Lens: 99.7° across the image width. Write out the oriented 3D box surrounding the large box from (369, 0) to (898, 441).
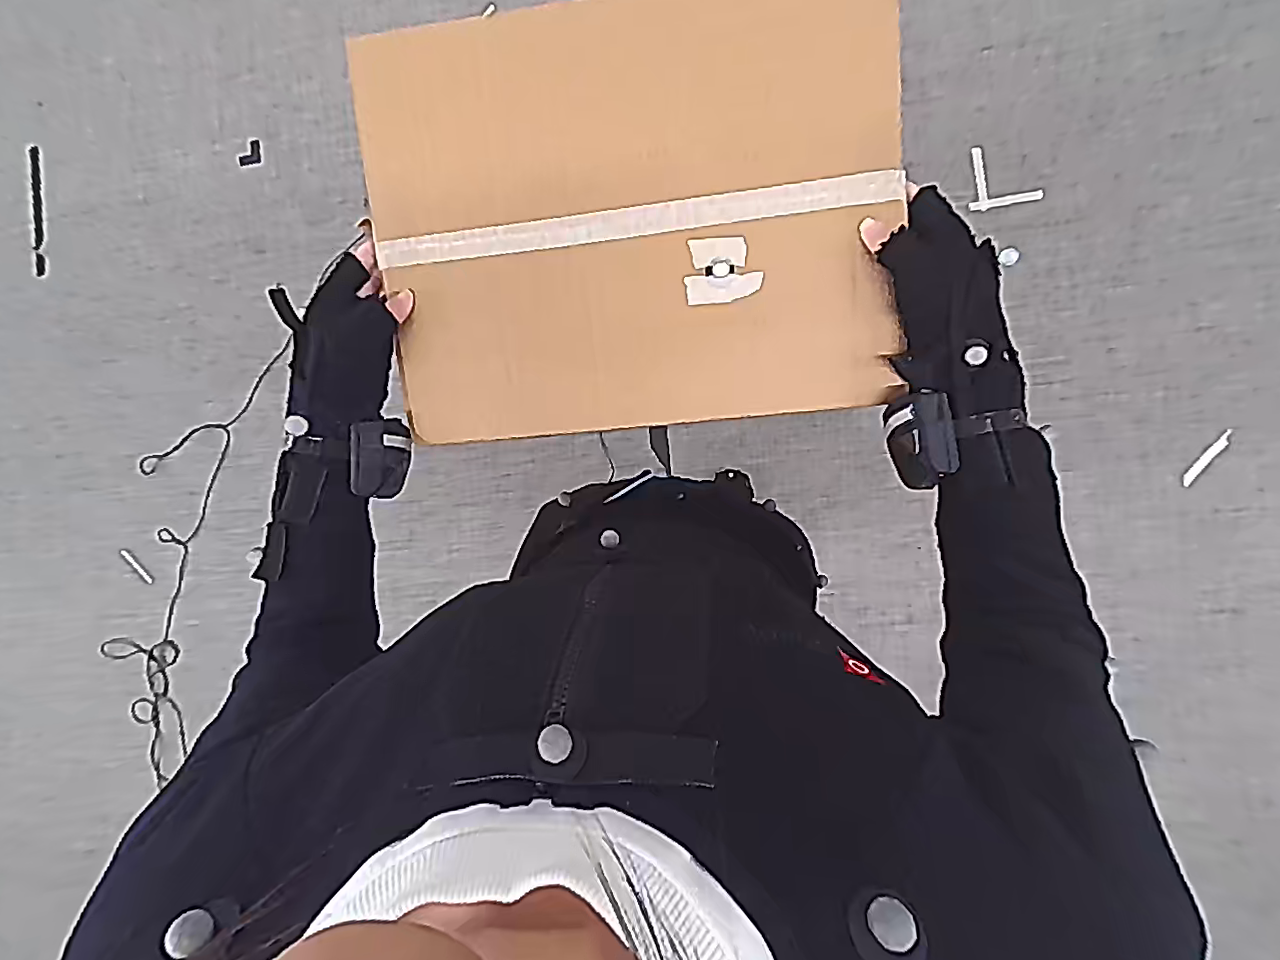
[{"bbox_3d":[0.006,-0.227,0.577,0.408,0.320,0.320,-5,100,6],"label":"large box"}]
